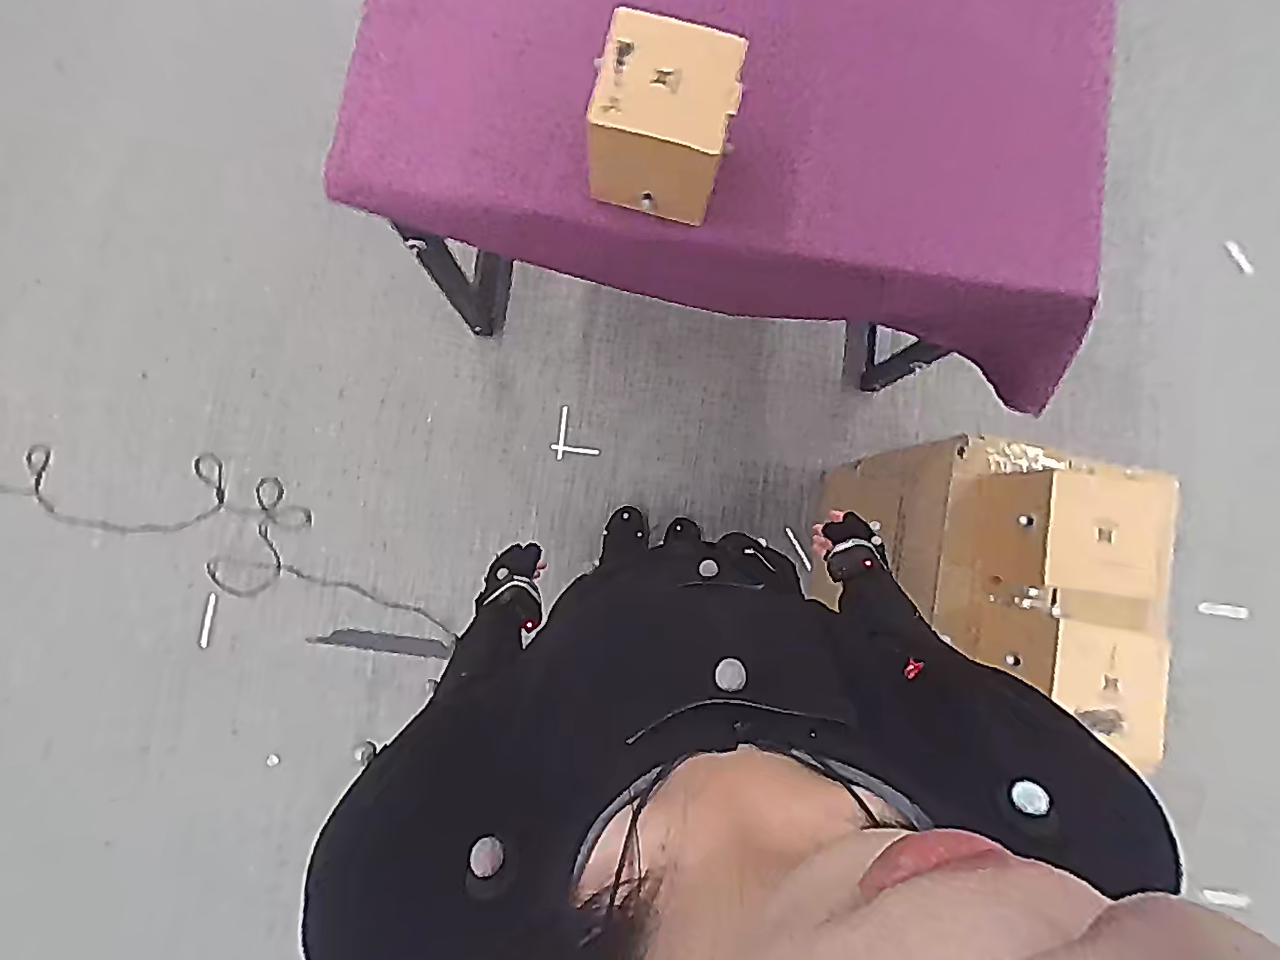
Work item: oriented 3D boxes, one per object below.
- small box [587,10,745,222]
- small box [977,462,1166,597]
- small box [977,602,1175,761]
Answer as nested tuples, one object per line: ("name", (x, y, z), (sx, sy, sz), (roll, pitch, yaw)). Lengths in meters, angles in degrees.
("small box", (0.030, -0.501, 0.771), (0.179, 0.176, 0.168), (14, 84, -2))
("small box", (0.666, 0.076, 0.853), (0.168, 0.176, 0.179), (8, 86, 0))
("small box", (0.655, 0.297, 0.832), (0.168, 0.176, 0.179), (11, 83, 0))
